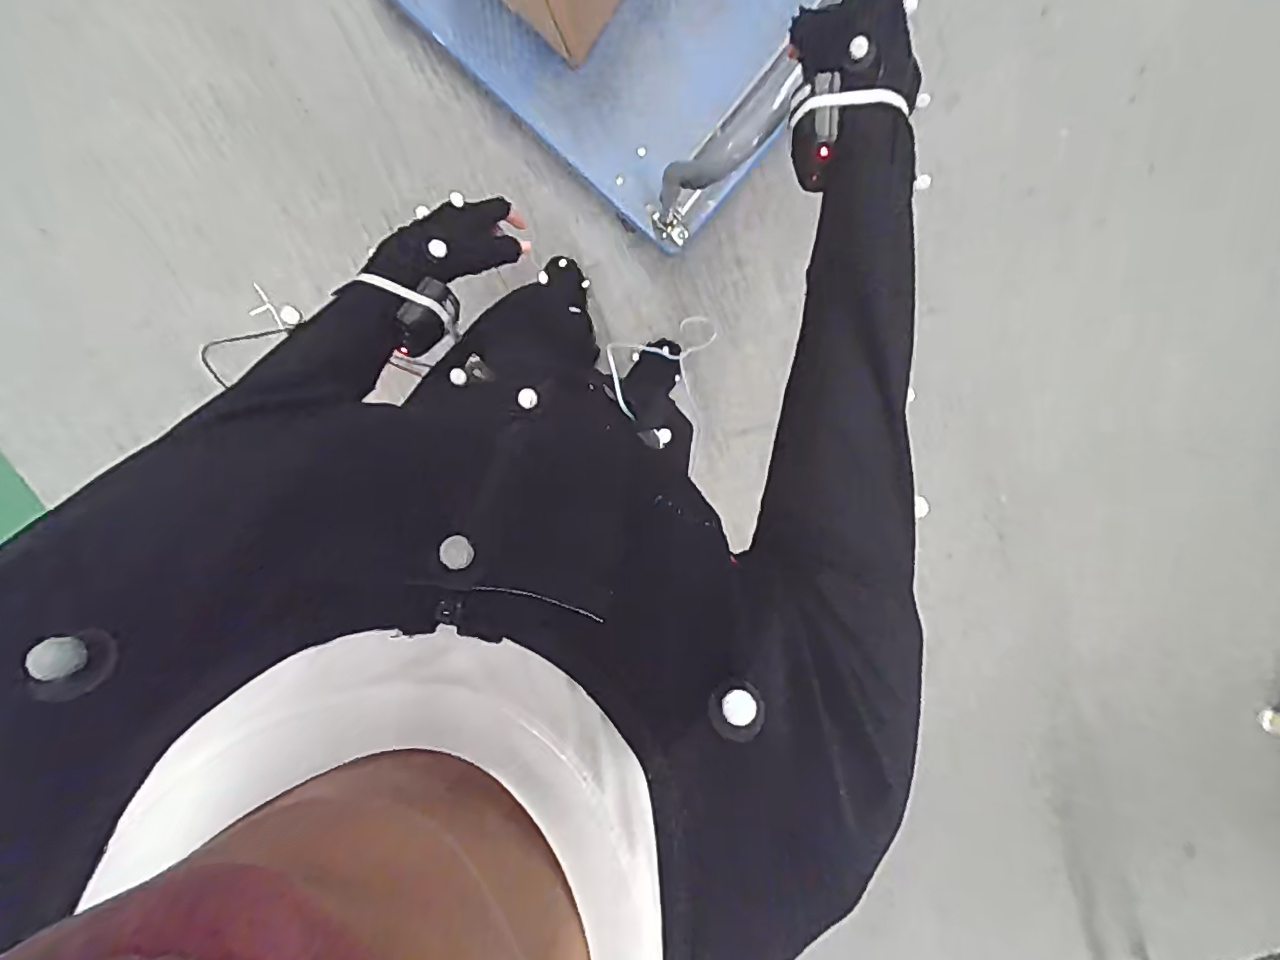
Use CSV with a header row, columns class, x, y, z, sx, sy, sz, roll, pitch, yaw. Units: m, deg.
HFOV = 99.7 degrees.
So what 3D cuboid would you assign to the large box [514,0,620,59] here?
class,x,y,z,sx,sy,sz,roll,pitch,yaw
large box,-0.117,-0.987,0.819,0.320,0.320,0.408,38,108,-9
